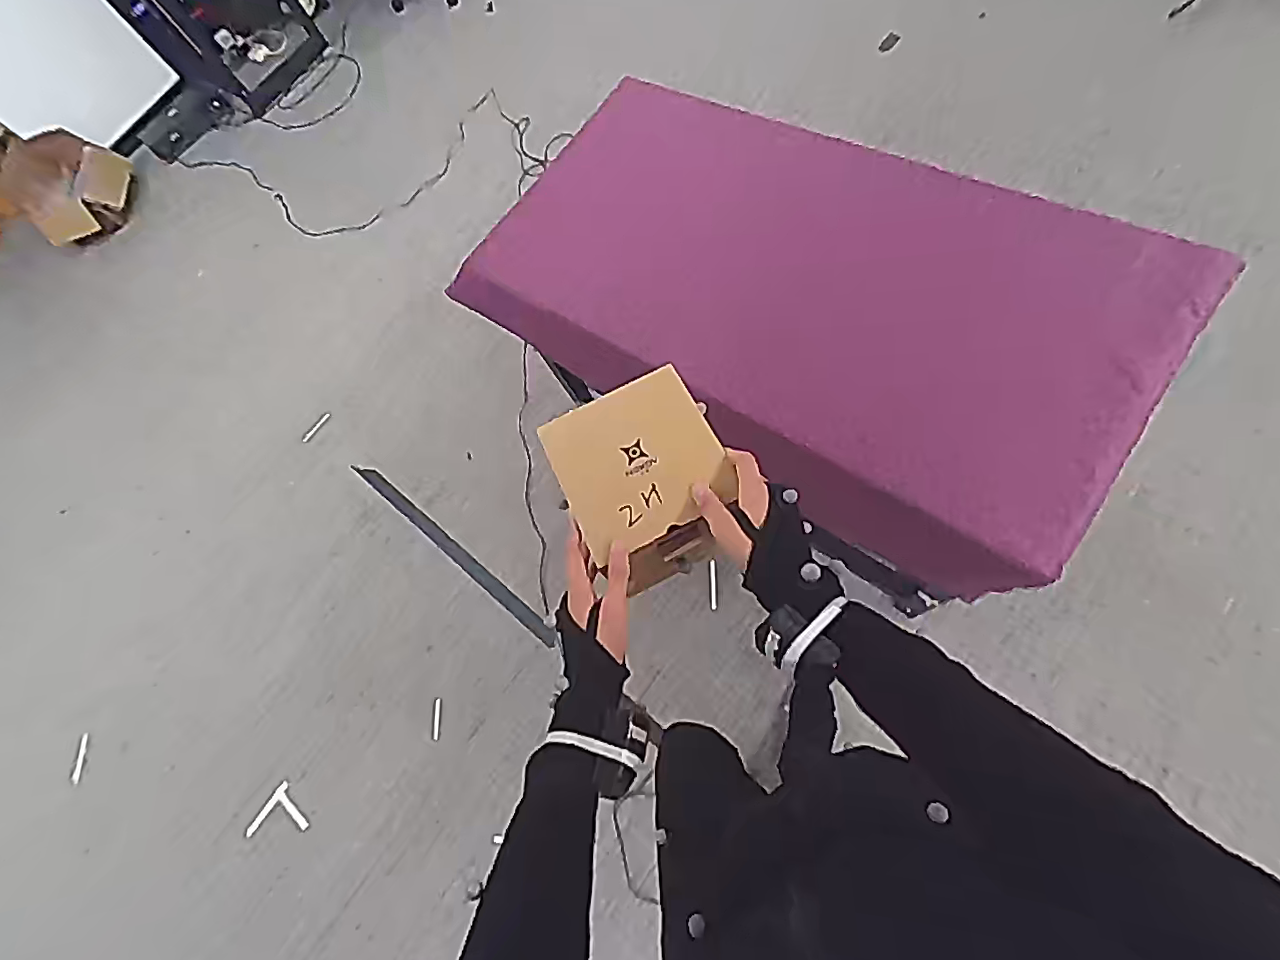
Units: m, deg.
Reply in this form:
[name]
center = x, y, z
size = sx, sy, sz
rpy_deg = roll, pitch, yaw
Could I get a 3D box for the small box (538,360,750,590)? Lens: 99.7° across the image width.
[small box]
center = 0.008, 0.004, 0.618
size = 0.168, 0.176, 0.179
rpy_deg = -26, 68, -2
